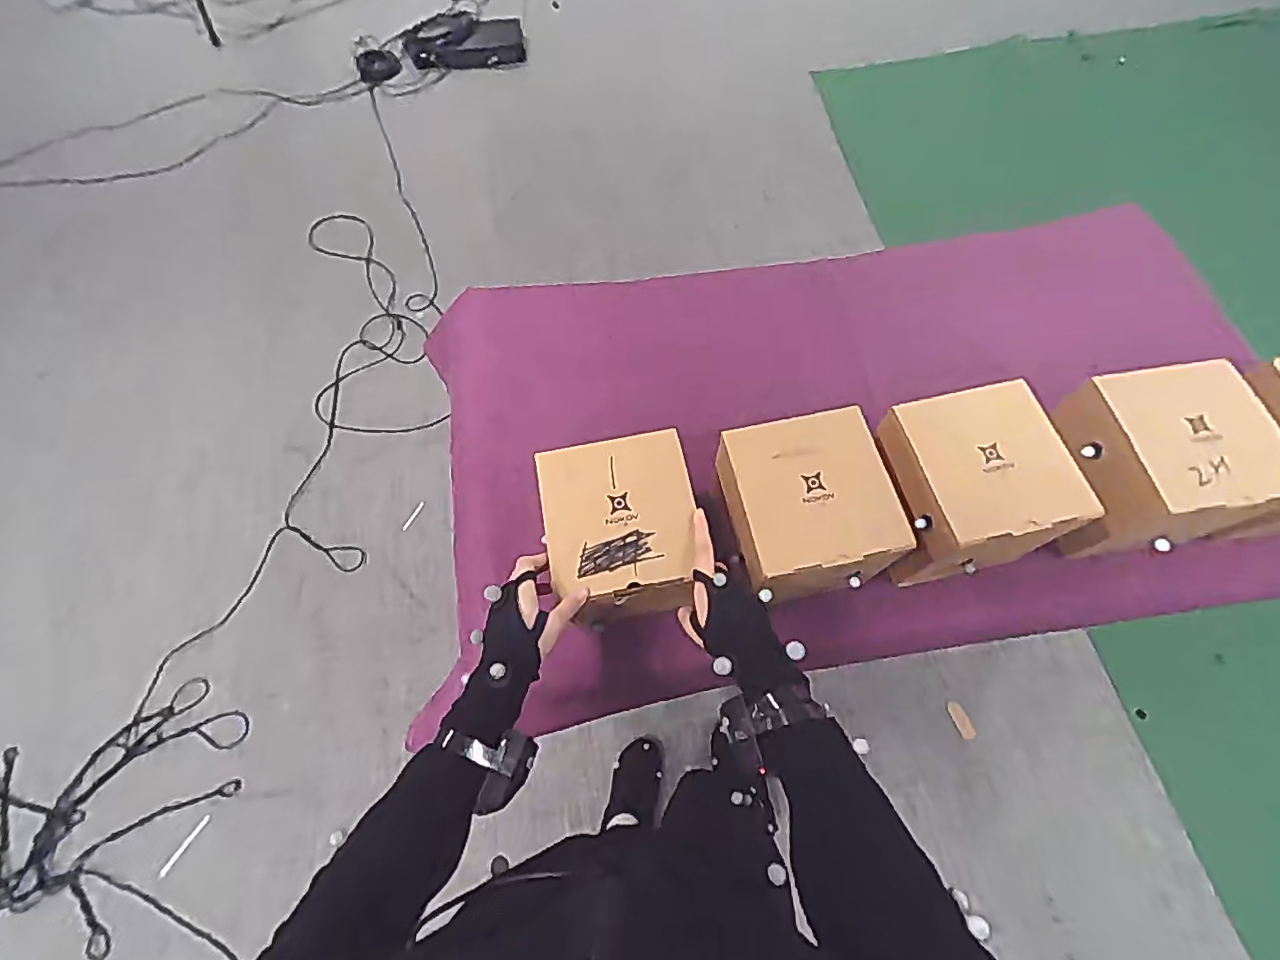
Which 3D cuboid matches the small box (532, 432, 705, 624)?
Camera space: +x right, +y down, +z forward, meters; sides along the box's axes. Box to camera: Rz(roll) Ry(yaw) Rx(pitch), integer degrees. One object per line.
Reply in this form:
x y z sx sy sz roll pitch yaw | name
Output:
-0.023 0.068 0.649 0.168 0.176 0.179 -11 66 -3 | small box
